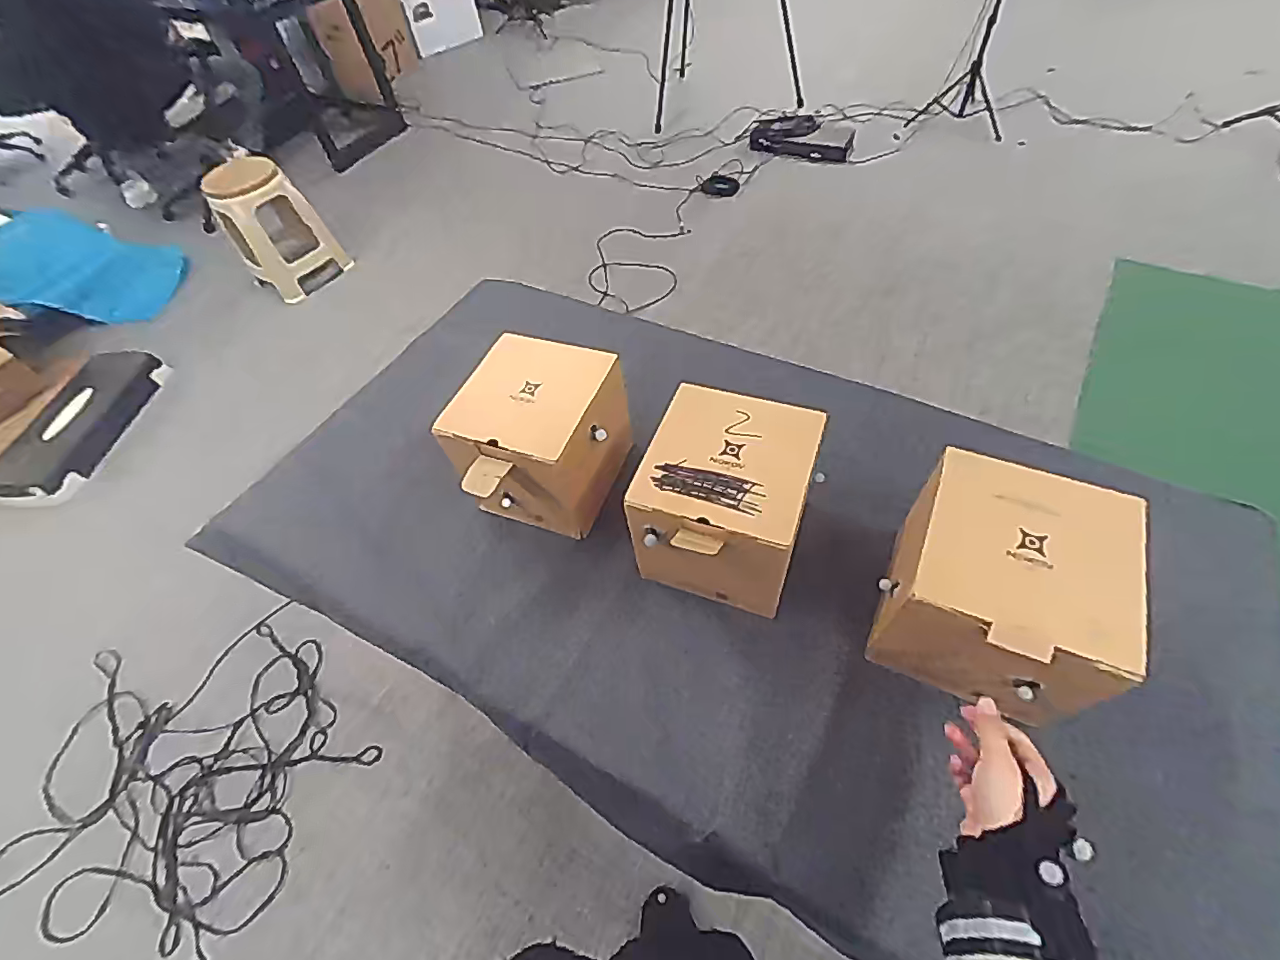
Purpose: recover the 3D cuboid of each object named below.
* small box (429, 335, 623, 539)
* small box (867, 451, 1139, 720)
[{"bbox_3d":[-0.129,-0.054,0.696,0.168,0.176,0.179,15,58,16],"label":"small box"},{"bbox_3d":[0.337,0.107,0.529,0.168,0.176,0.179,19,58,18],"label":"small box"}]
